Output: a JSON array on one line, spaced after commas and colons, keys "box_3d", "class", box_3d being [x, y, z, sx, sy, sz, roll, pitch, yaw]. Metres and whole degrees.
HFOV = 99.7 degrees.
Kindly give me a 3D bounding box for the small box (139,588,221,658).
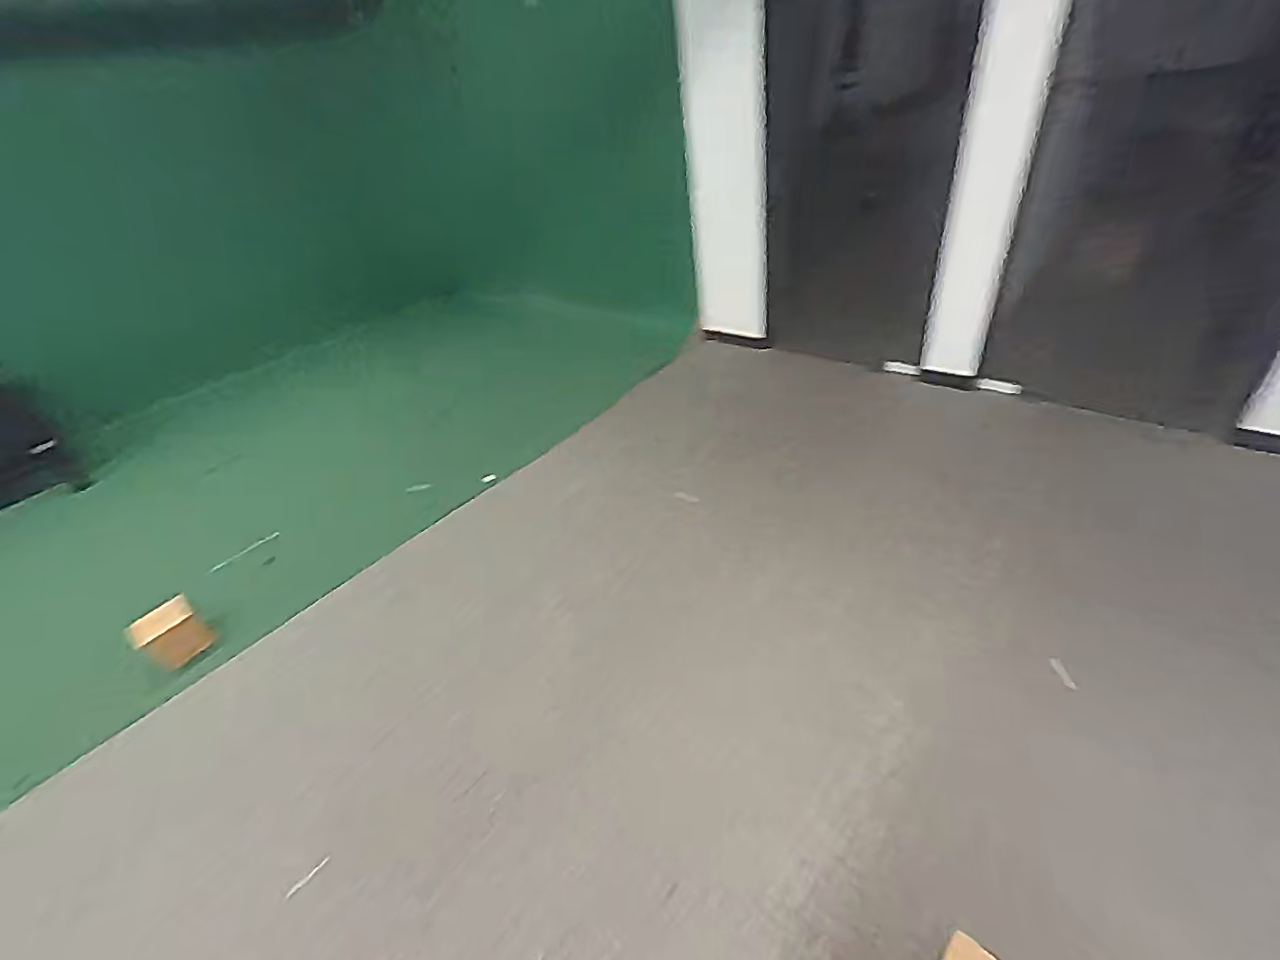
[{"box_3d": [-1.777, 0.560, 2.096, 0.179, 0.176, 0.168, 22, 48, 35], "class": "small box"}]
